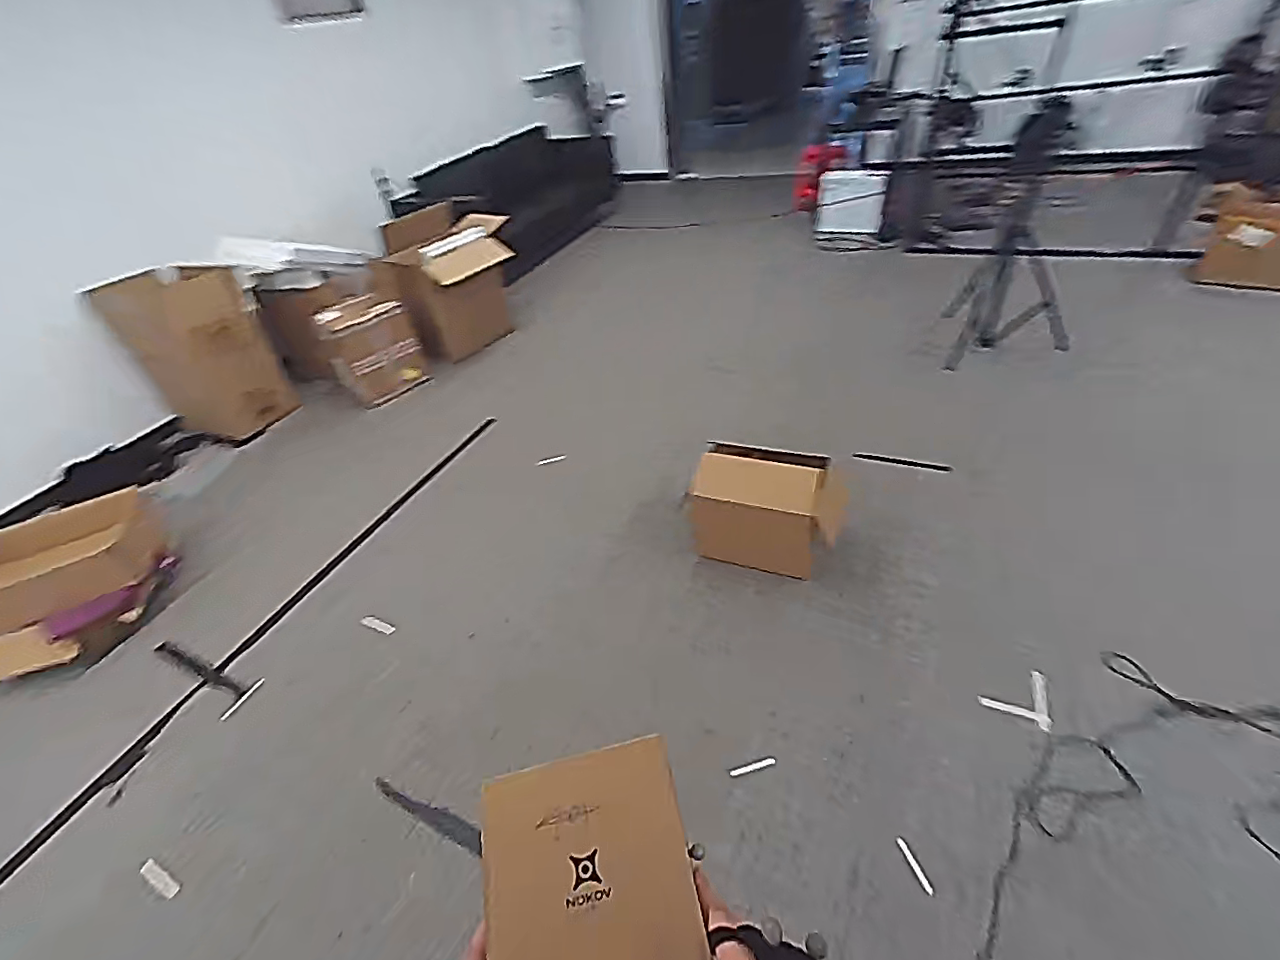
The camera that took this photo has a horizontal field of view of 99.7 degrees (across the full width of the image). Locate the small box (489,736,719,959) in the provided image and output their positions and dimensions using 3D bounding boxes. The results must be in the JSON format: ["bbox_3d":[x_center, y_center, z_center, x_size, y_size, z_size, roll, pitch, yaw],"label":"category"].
[{"bbox_3d":[-0.027,0.355,0.486,0.168,0.176,0.179,-13,53,-4],"label":"small box"}]
